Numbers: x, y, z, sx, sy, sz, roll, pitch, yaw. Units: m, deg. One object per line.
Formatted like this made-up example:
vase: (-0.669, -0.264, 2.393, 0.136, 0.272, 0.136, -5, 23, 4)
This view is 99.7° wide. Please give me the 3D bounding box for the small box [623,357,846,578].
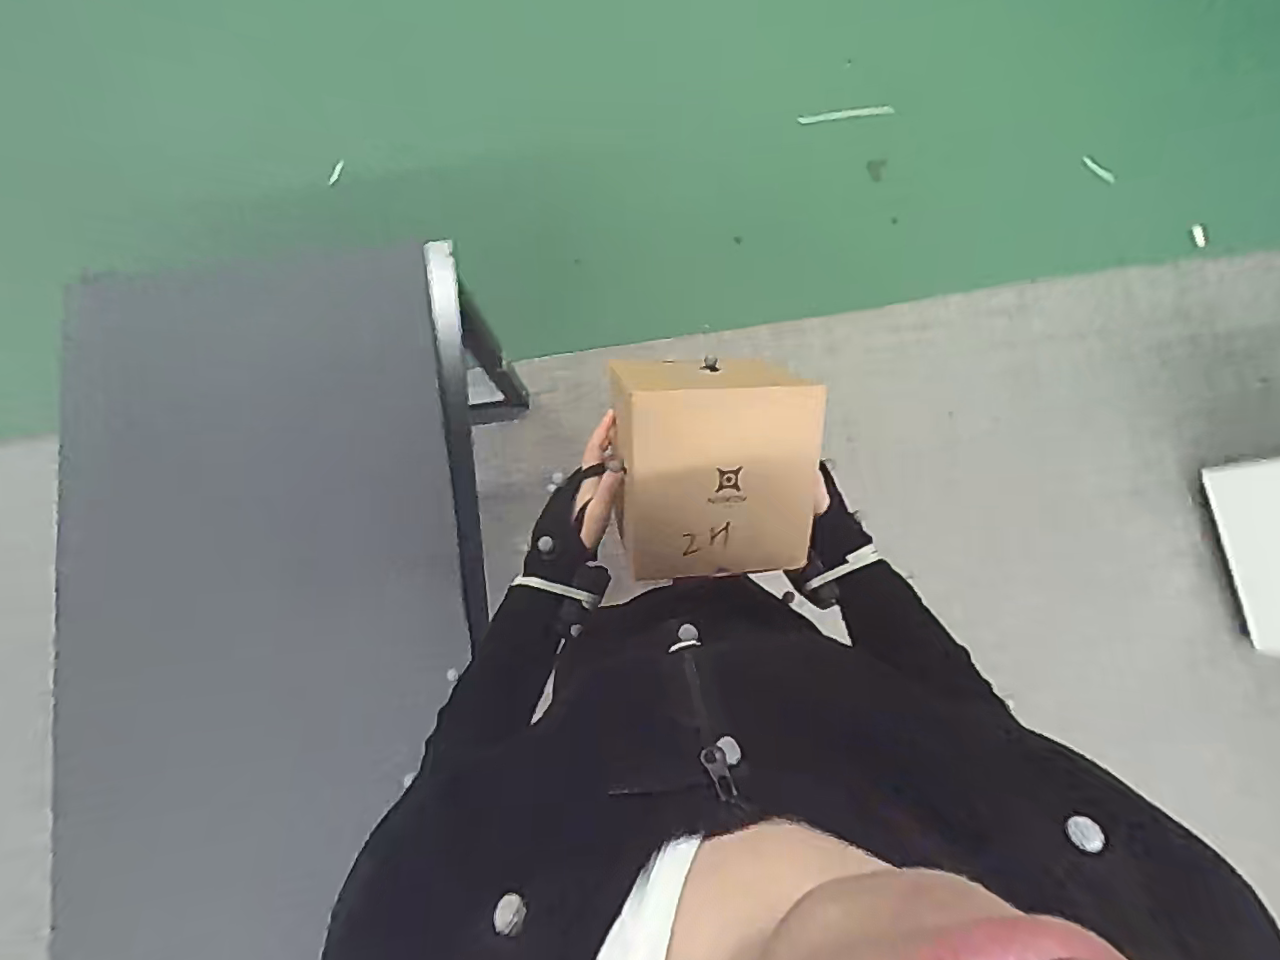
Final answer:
small box: (0.073, -0.026, 0.523, 0.168, 0.176, 0.179, -3, 109, -8)
